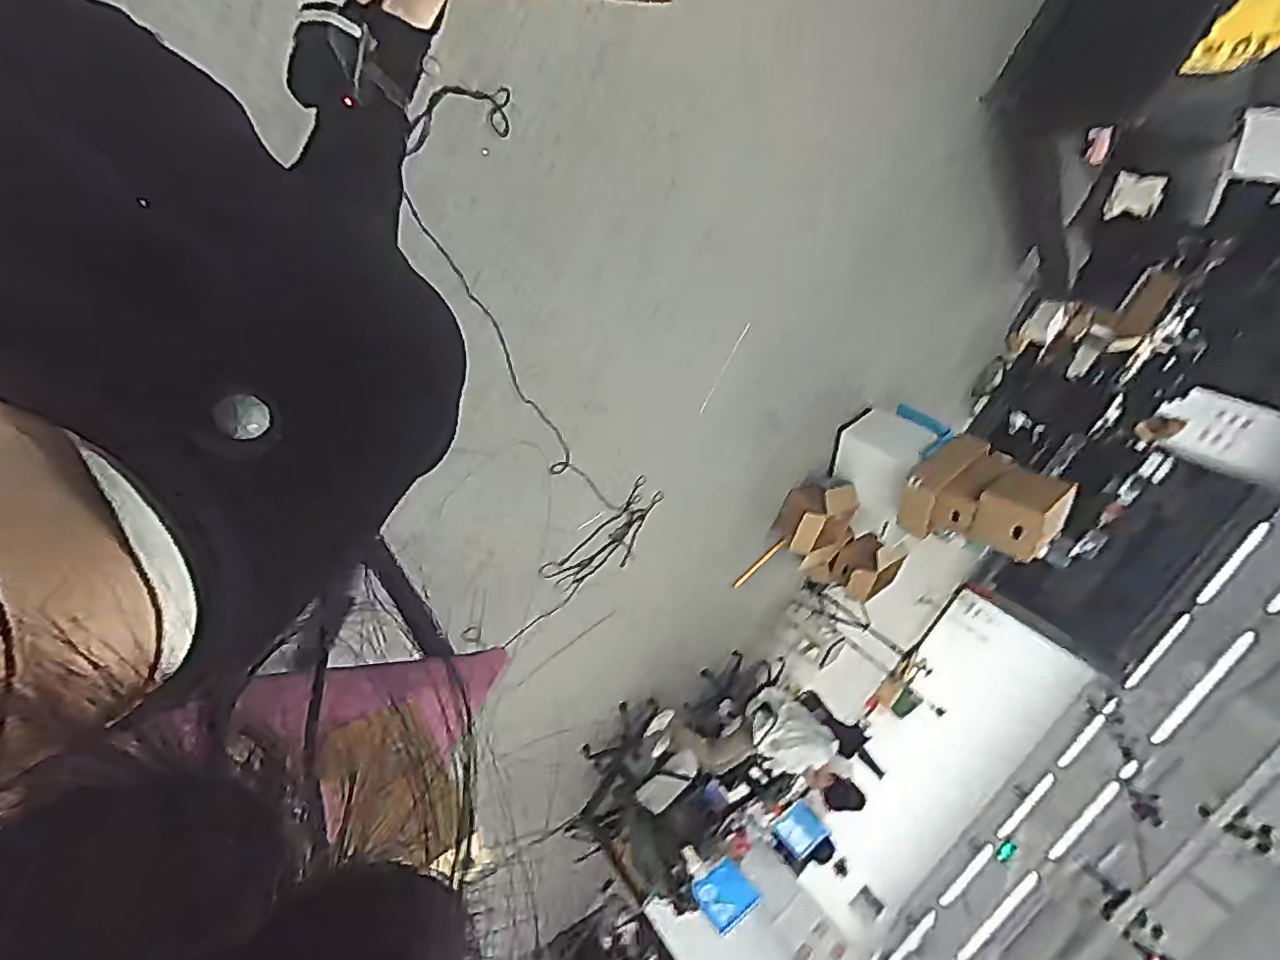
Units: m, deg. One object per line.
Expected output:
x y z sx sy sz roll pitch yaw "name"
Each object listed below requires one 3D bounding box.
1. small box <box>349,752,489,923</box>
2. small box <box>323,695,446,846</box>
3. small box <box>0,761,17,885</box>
-0.401 0.643 0.990 0.179 0.176 0.168 -24 136 -30 "small box"
-0.513 0.573 1.089 0.179 0.176 0.168 -15 130 -39 "small box"
-0.859 0.444 0.611 0.168 0.176 0.179 25 101 -52 "small box"
